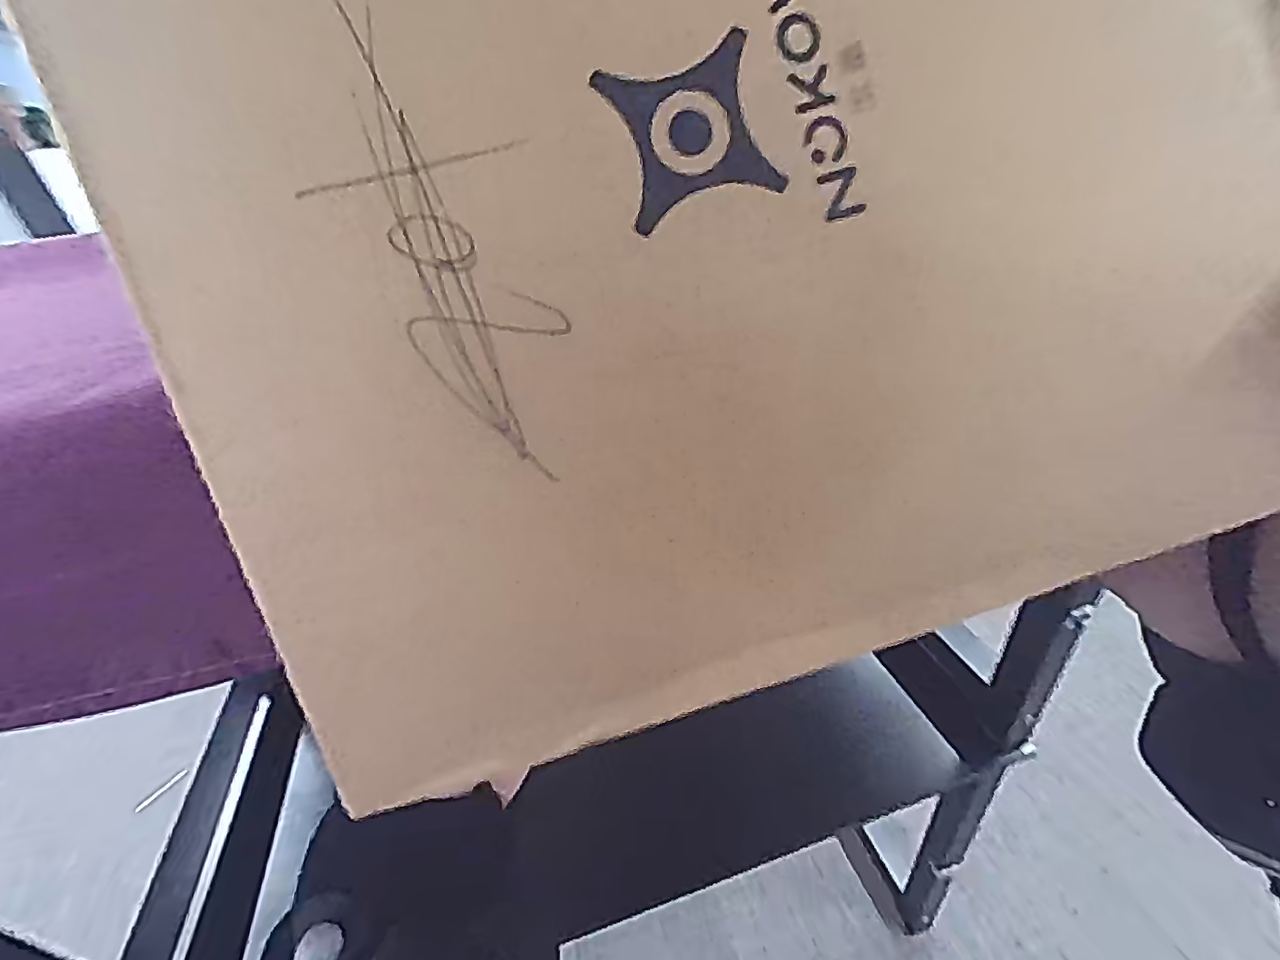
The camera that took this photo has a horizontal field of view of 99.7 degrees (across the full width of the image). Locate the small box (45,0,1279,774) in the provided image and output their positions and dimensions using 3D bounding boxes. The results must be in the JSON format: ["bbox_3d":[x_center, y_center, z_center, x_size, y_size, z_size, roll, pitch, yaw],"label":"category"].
[{"bbox_3d":[0.013,-0.066,0.153,0.179,0.168,0.176,-18,6,0],"label":"small box"}]
